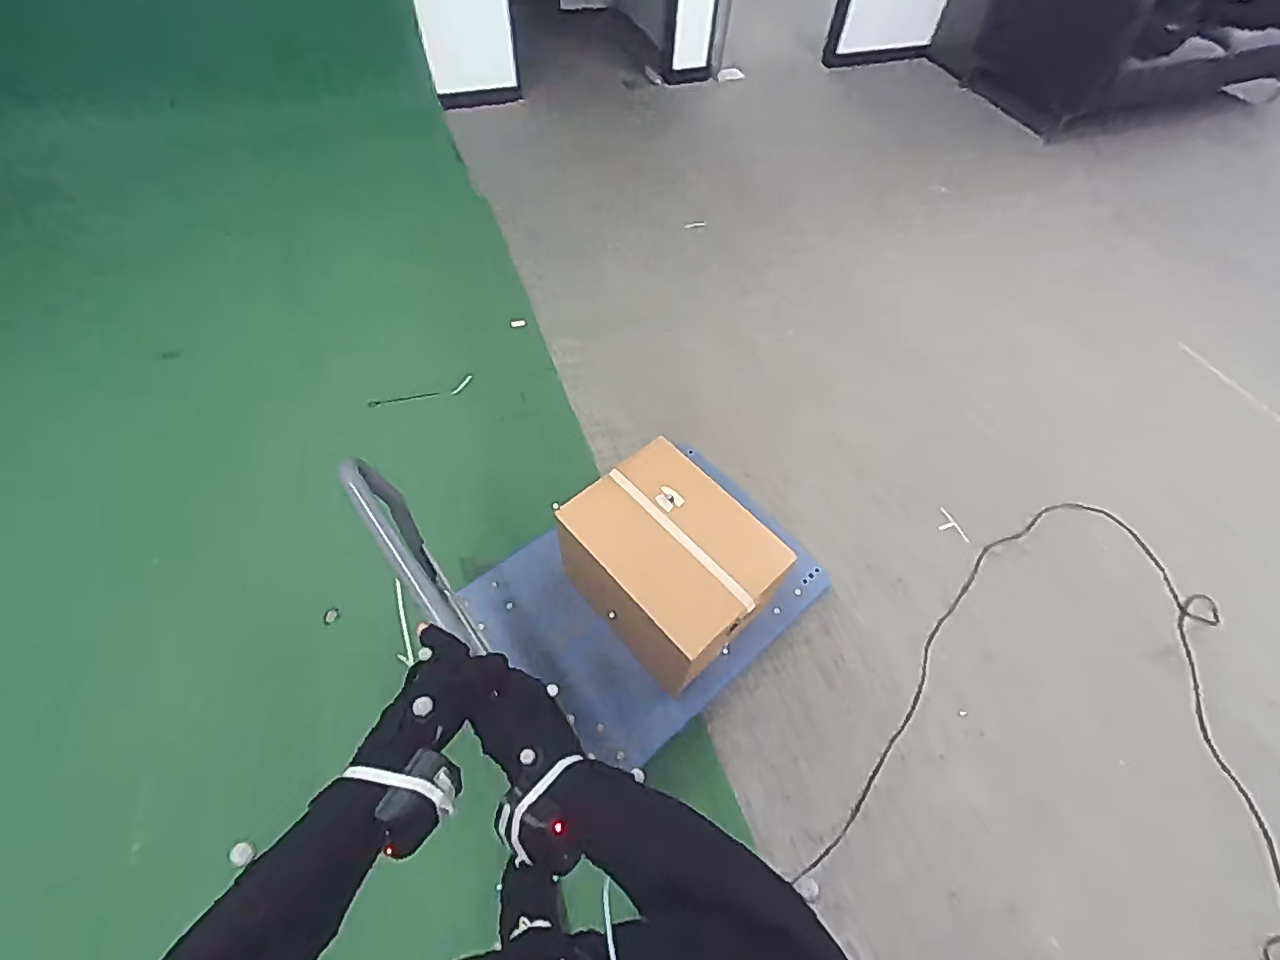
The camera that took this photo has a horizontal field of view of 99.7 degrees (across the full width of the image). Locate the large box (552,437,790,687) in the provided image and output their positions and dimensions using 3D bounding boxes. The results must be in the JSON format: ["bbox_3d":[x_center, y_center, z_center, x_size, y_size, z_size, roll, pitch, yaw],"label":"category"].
[{"bbox_3d":[0.055,0.187,1.226,0.320,0.320,0.408,-36,66,-24],"label":"large box"}]
